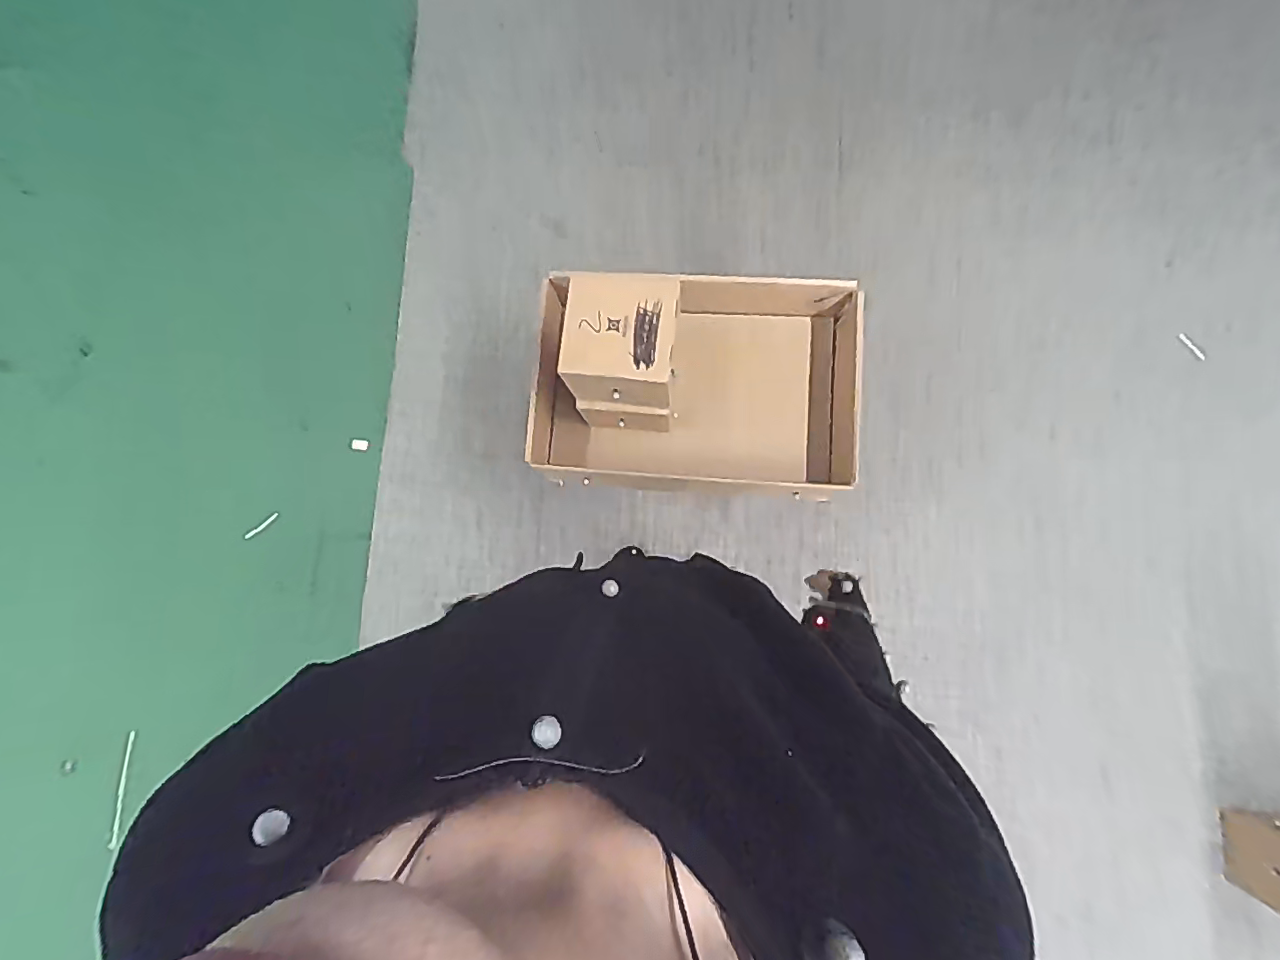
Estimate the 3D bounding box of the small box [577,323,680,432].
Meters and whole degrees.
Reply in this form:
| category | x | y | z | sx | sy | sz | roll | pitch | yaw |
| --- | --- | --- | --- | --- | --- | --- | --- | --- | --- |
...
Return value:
| category | x | y | z | sx | sy | sz | roll | pitch | yaw |
| --- | --- | --- | --- | --- | --- | --- | --- | --- | --- |
| small box | -0.017 | -0.194 | 1.068 | 0.179 | 0.176 | 0.168 | 5 | 83 | 4 |

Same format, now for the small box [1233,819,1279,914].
| category | x | y | z | sx | sy | sz | roll | pitch | yaw |
| --- | --- | --- | --- | --- | --- | --- | --- | --- | --- |
| small box | 1.530 | 0.910 | 1.238 | 0.168 | 0.176 | 0.179 | 2 | 83 | 5 |
